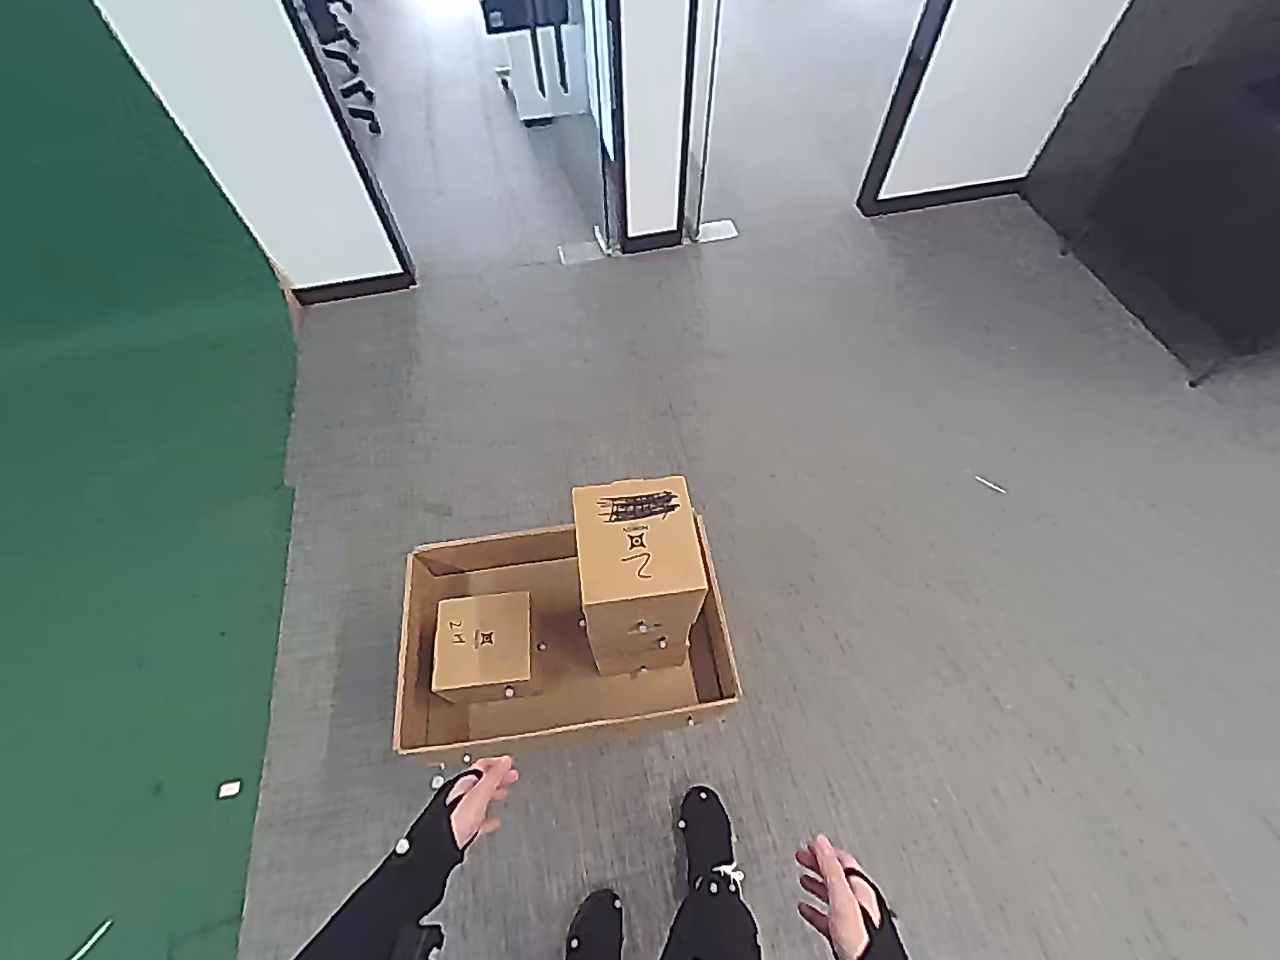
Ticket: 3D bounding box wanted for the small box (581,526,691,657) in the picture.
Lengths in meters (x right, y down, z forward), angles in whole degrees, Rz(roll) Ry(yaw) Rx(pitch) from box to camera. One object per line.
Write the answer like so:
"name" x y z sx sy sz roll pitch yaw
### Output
"small box" -0.008 0.202 0.945 0.168 0.176 0.179 -7 59 -4
